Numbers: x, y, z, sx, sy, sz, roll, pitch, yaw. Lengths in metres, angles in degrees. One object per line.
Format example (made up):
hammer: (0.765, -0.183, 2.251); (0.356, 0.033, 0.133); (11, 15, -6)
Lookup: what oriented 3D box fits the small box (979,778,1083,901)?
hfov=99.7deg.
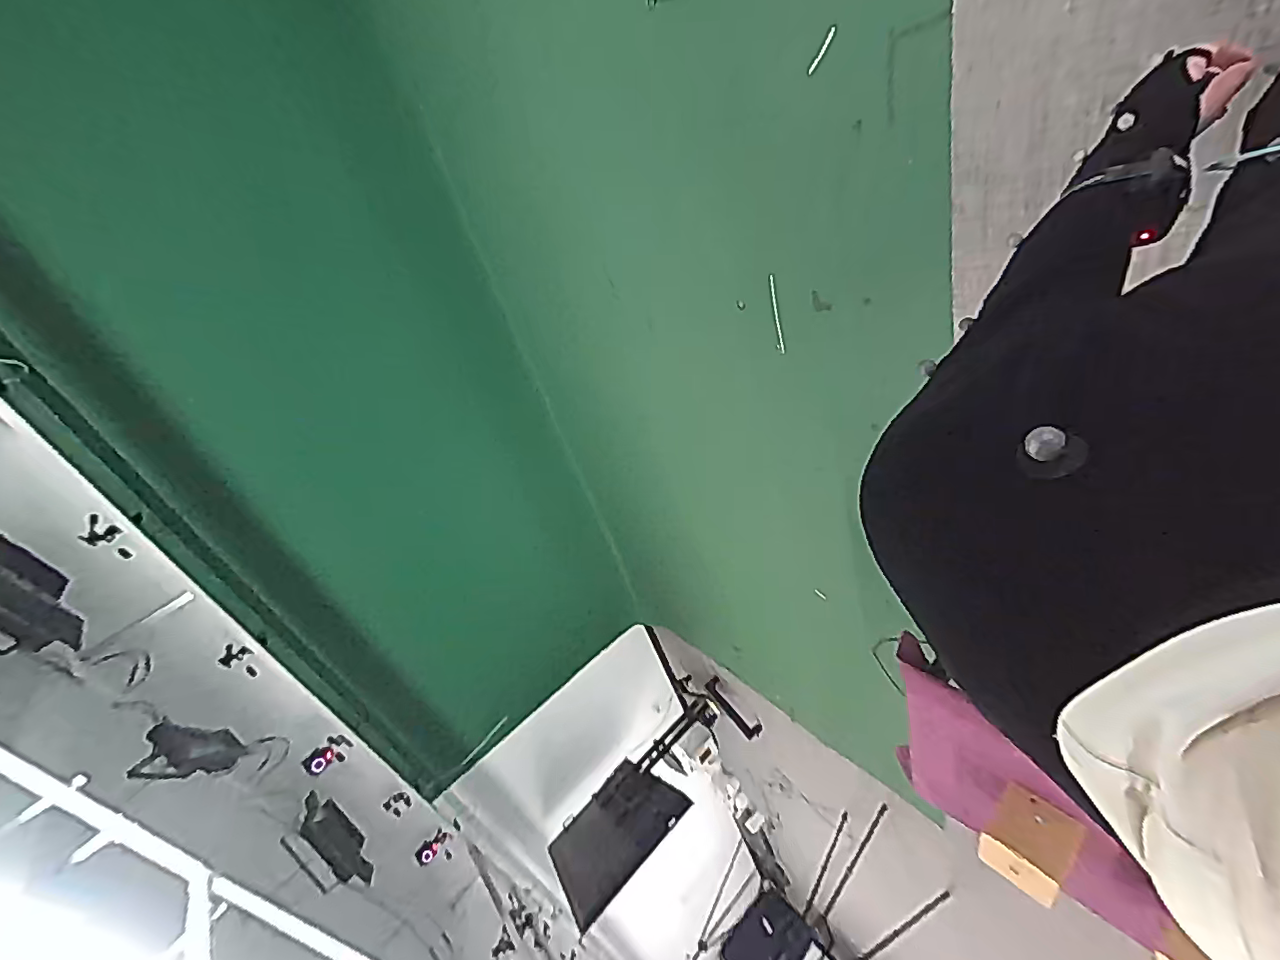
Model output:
small box: (1.002, 0.918, 1.391); (0.168, 0.176, 0.179); (24, 143, 46)

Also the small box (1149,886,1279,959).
small box: (1.212, 1.001, 1.129); (0.179, 0.176, 0.168); (19, 139, 52)
